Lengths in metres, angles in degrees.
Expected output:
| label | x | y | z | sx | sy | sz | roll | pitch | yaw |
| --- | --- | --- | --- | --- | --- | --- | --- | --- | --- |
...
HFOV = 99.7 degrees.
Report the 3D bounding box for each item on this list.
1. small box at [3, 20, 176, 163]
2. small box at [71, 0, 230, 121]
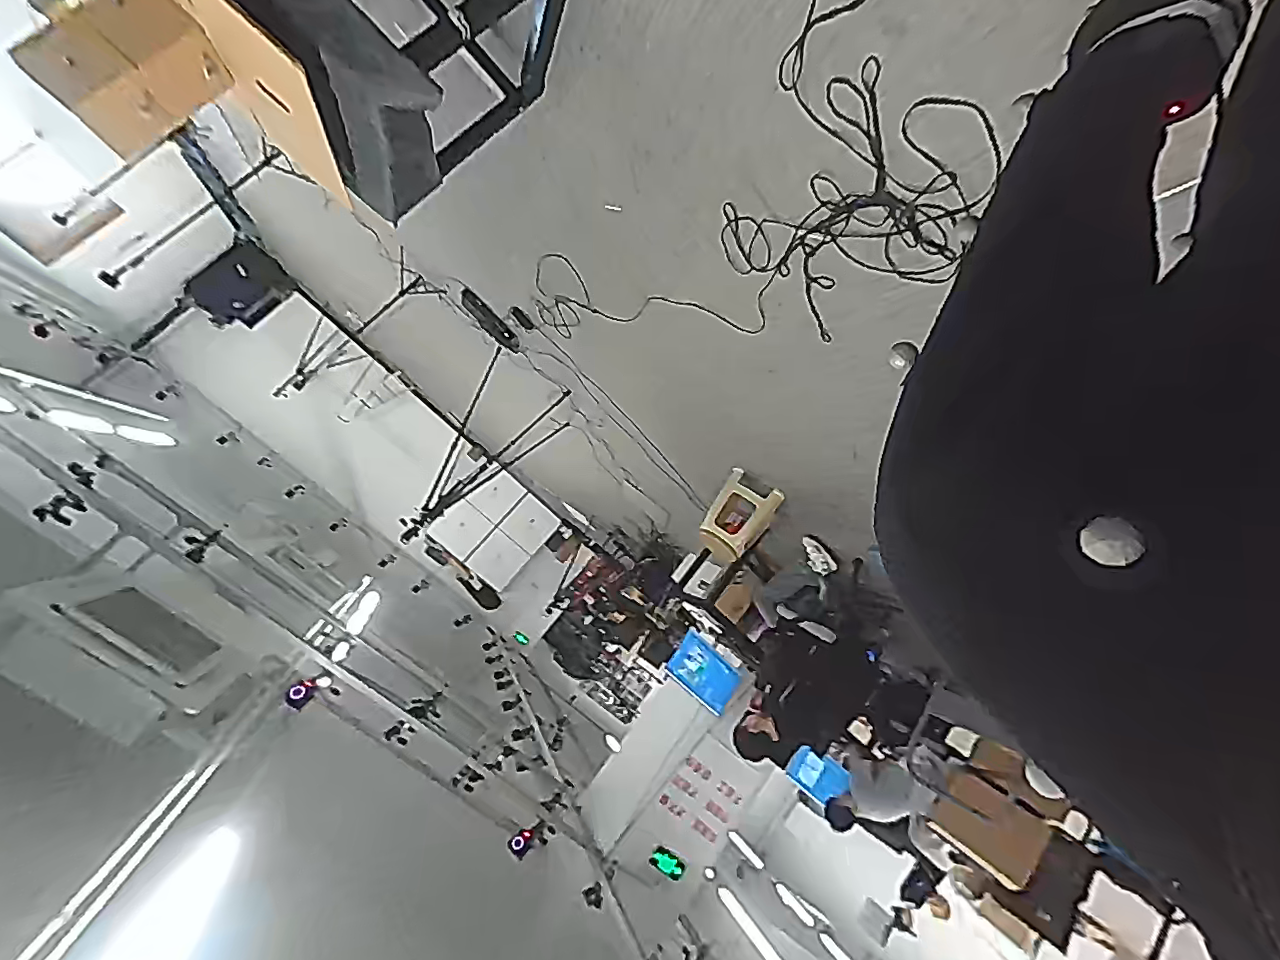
| label | x | y | z | sx | sy | sz | roll | pitch | yaw |
| --- | --- | --- | --- | --- | --- | --- | --- | --- | --- |
| small box | -1.223 | -0.879 | 1.220 | 0.179 | 0.176 | 0.168 | 41 | 168 | -5 |
| small box | -1.117 | -1.000 | 1.252 | 0.179 | 0.176 | 0.168 | 41 | 168 | -6 |
